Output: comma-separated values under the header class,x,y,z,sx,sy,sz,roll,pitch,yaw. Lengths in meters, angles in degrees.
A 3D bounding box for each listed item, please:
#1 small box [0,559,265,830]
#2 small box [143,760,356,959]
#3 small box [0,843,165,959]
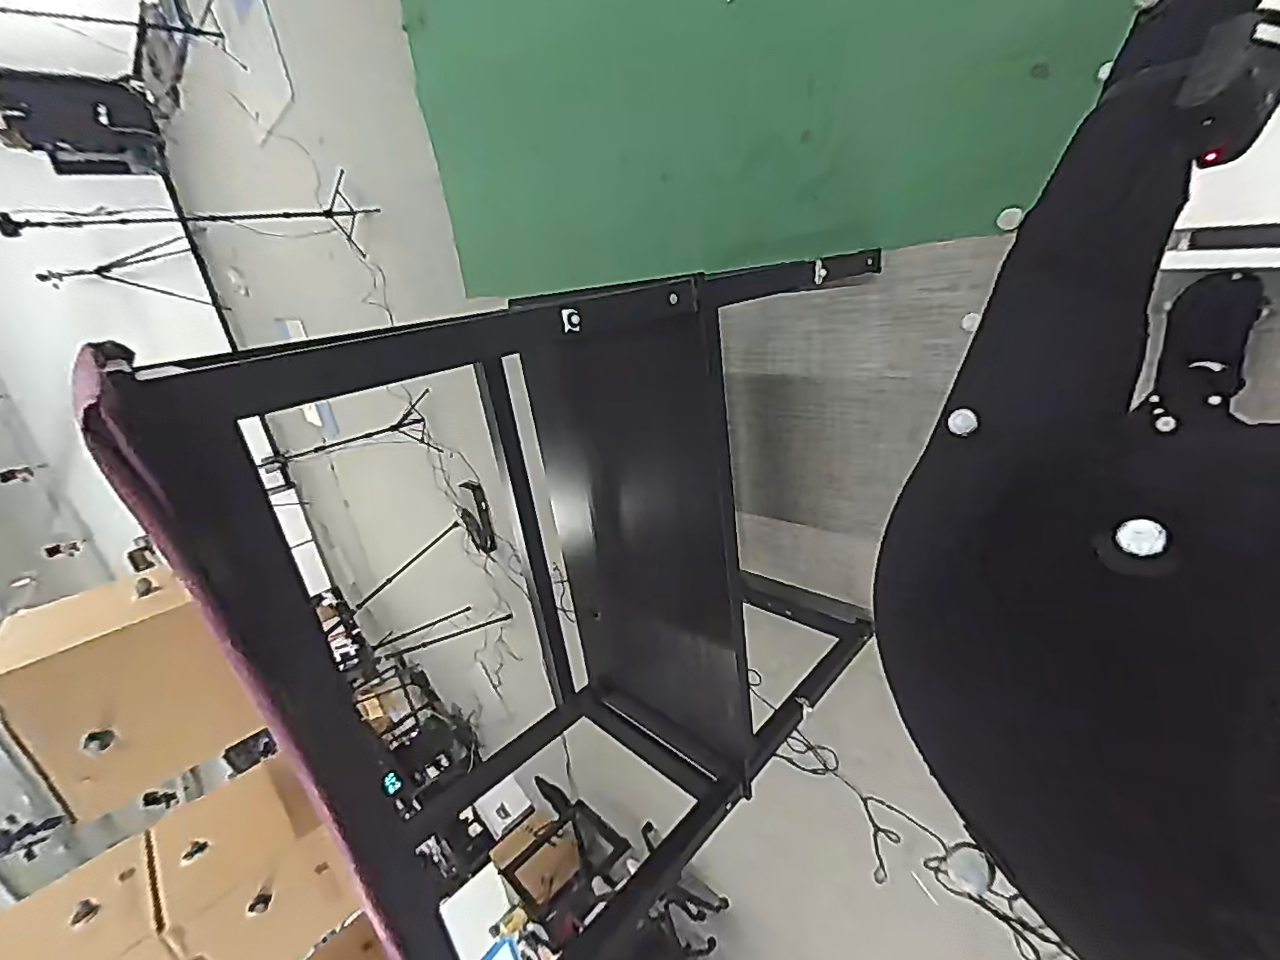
class,x,y,z,sx,sy,sz,roll,pitch,yaw
small box,-0.539,0.213,0.587,0.168,0.176,0.179,13,120,47
small box,-0.487,0.504,0.690,0.179,0.176,0.168,15,119,44
small box,-0.605,0.558,0.587,0.168,0.176,0.179,15,119,43
